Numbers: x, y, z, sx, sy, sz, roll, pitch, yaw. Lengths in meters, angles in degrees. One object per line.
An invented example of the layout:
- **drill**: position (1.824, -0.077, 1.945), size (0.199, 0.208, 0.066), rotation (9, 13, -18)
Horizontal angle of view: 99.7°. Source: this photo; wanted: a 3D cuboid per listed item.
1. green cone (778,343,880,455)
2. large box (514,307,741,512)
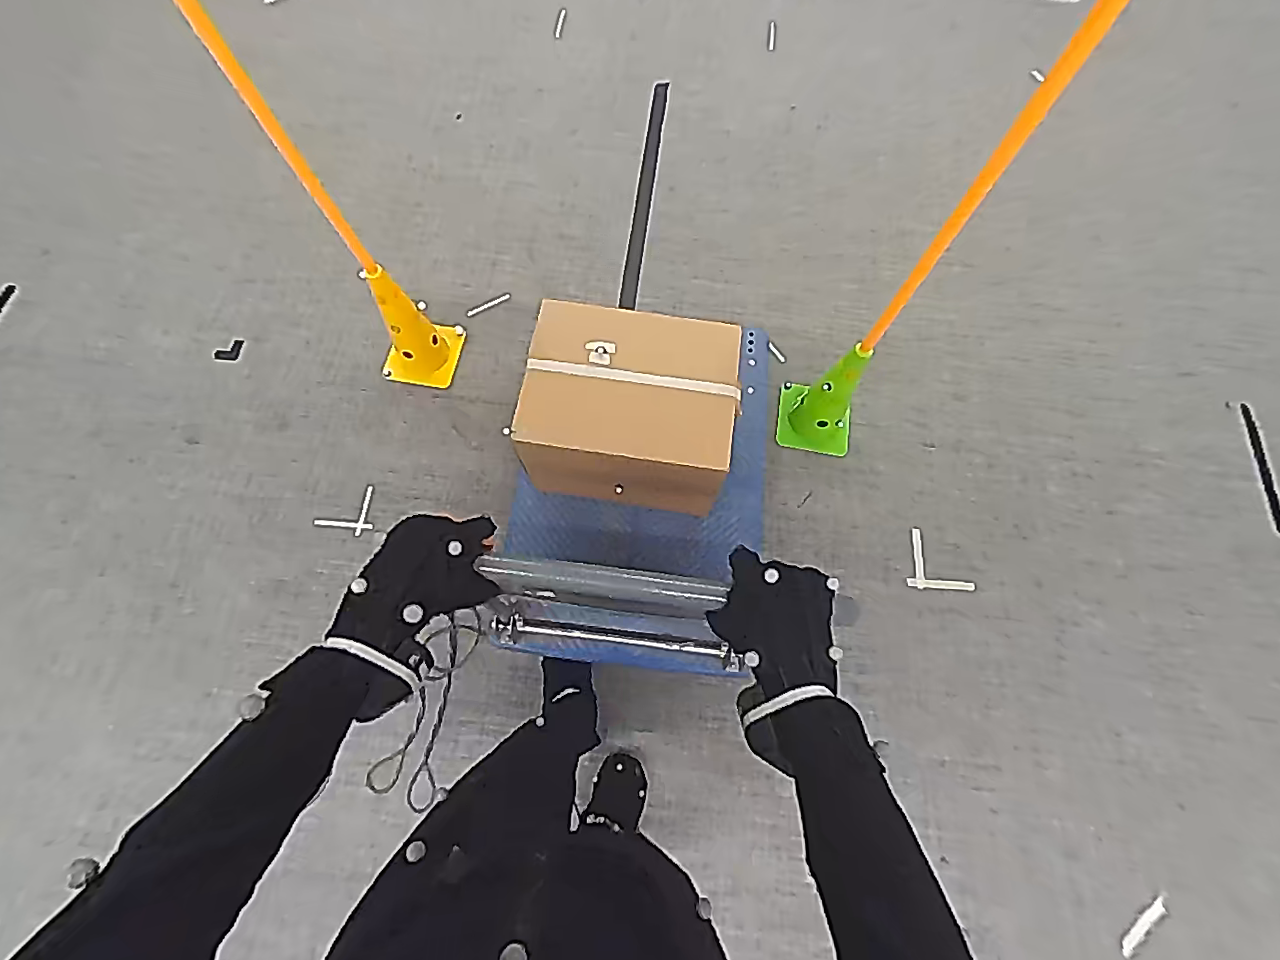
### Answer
- **green cone**: position (0.502, -0.229, 1.368), size (0.202, 0.368, 0.200), rotation (11, 71, 1)
- **large box**: position (-0.014, -0.134, 1.174), size (0.408, 0.320, 0.320), rotation (8, 71, 3)
